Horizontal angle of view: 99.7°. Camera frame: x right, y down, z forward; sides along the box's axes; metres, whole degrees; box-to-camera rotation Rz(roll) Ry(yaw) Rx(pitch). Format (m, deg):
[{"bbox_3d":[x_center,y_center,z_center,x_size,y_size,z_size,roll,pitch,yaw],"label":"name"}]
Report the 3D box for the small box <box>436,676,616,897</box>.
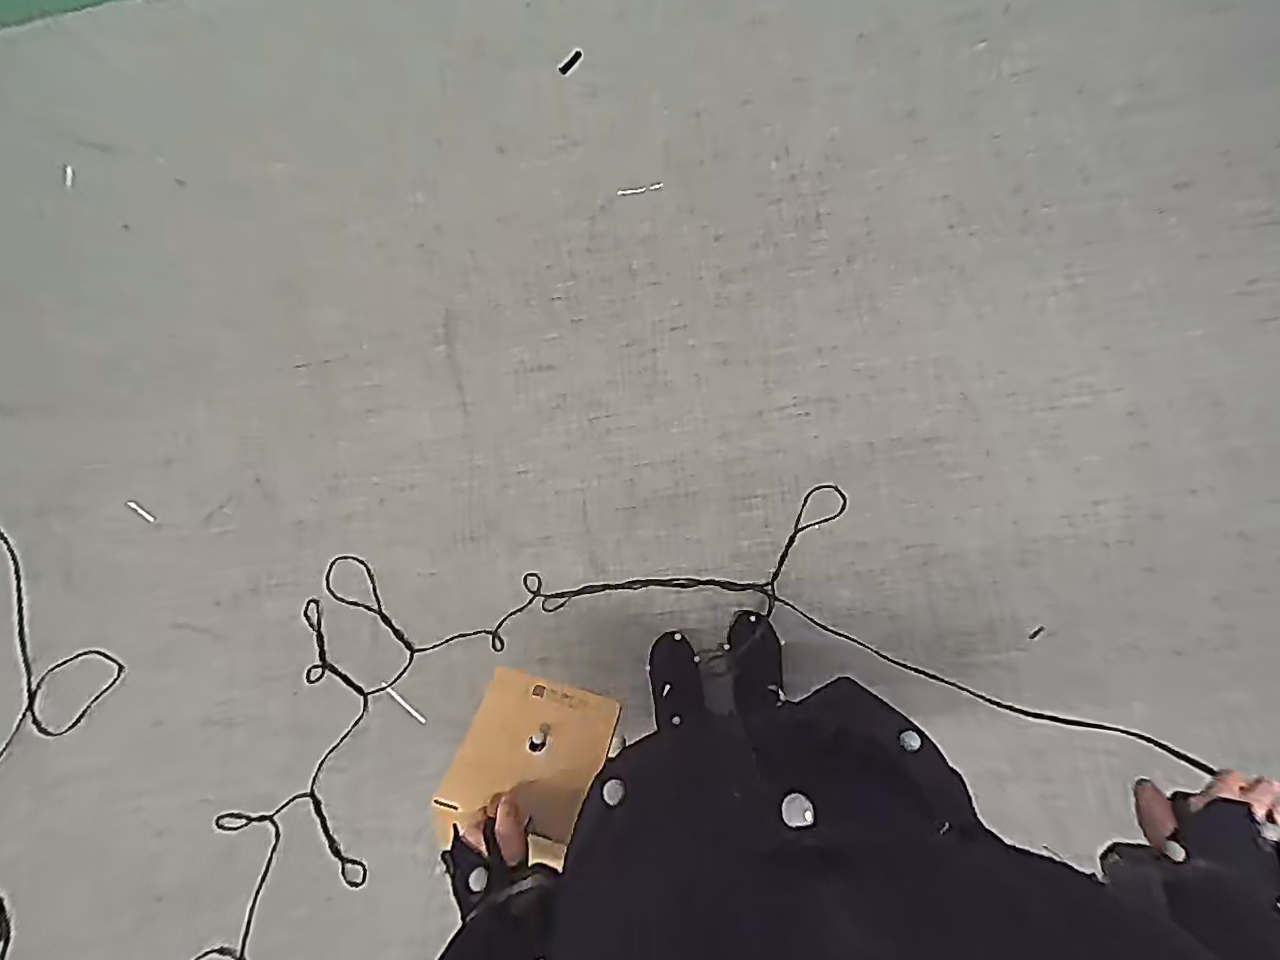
[{"bbox_3d":[-0.136,0.377,0.676,0.168,0.179,0.176,17,39,4],"label":"small box"}]
